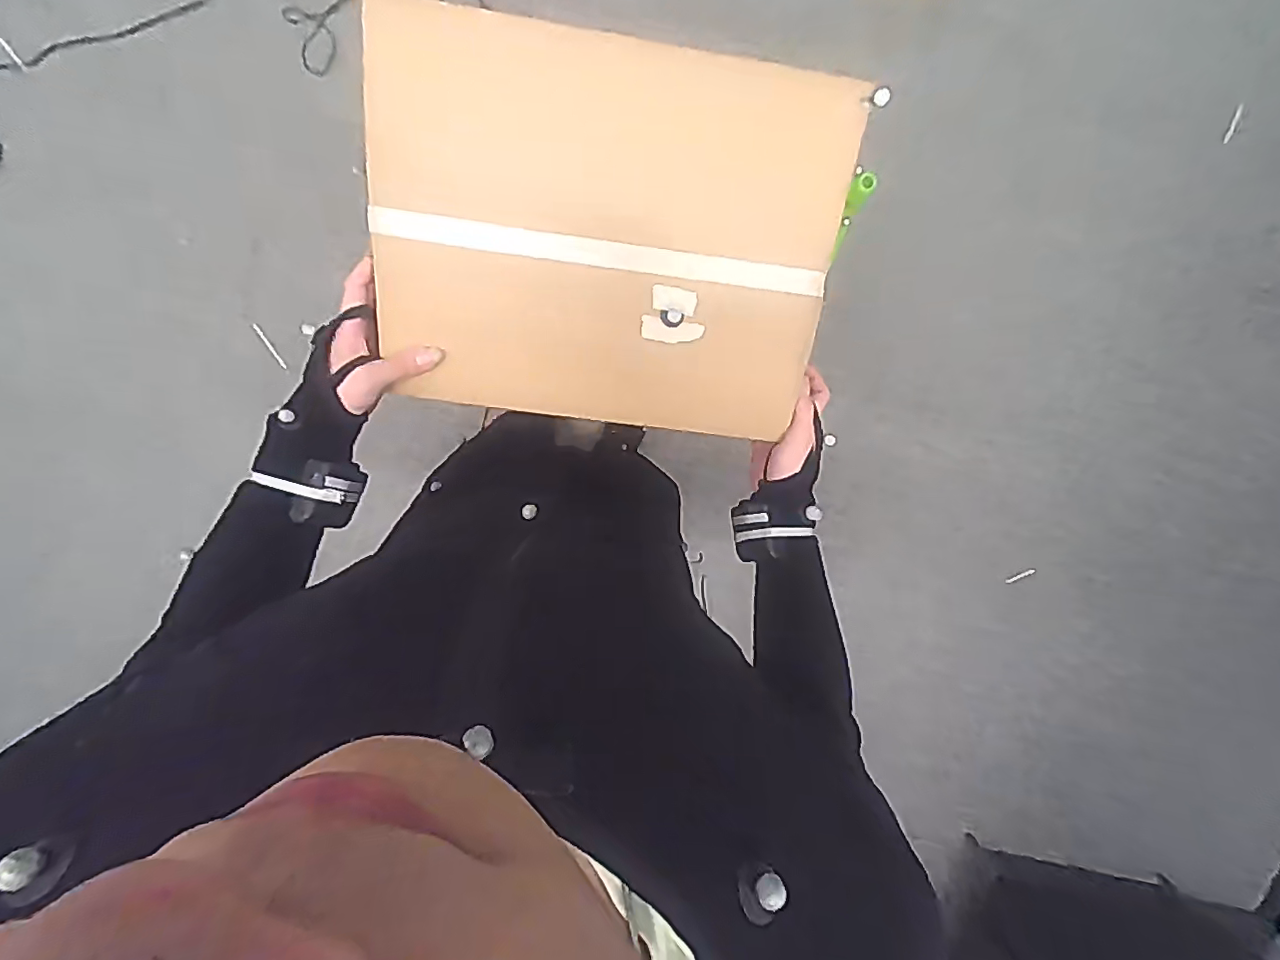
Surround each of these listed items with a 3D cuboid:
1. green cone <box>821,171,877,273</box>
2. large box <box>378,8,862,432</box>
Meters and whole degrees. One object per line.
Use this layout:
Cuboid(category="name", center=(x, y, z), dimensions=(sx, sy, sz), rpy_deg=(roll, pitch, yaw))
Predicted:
Cuboid(category="green cone", center=(0.489, -0.680, 1.354), dimensions=(0.200, 0.368, 0.202), rpy_deg=(21, 98, -7))
Cuboid(category="large box", center=(-0.035, -0.264, 0.629), dimensions=(0.408, 0.320, 0.320), rpy_deg=(6, 113, -6))
